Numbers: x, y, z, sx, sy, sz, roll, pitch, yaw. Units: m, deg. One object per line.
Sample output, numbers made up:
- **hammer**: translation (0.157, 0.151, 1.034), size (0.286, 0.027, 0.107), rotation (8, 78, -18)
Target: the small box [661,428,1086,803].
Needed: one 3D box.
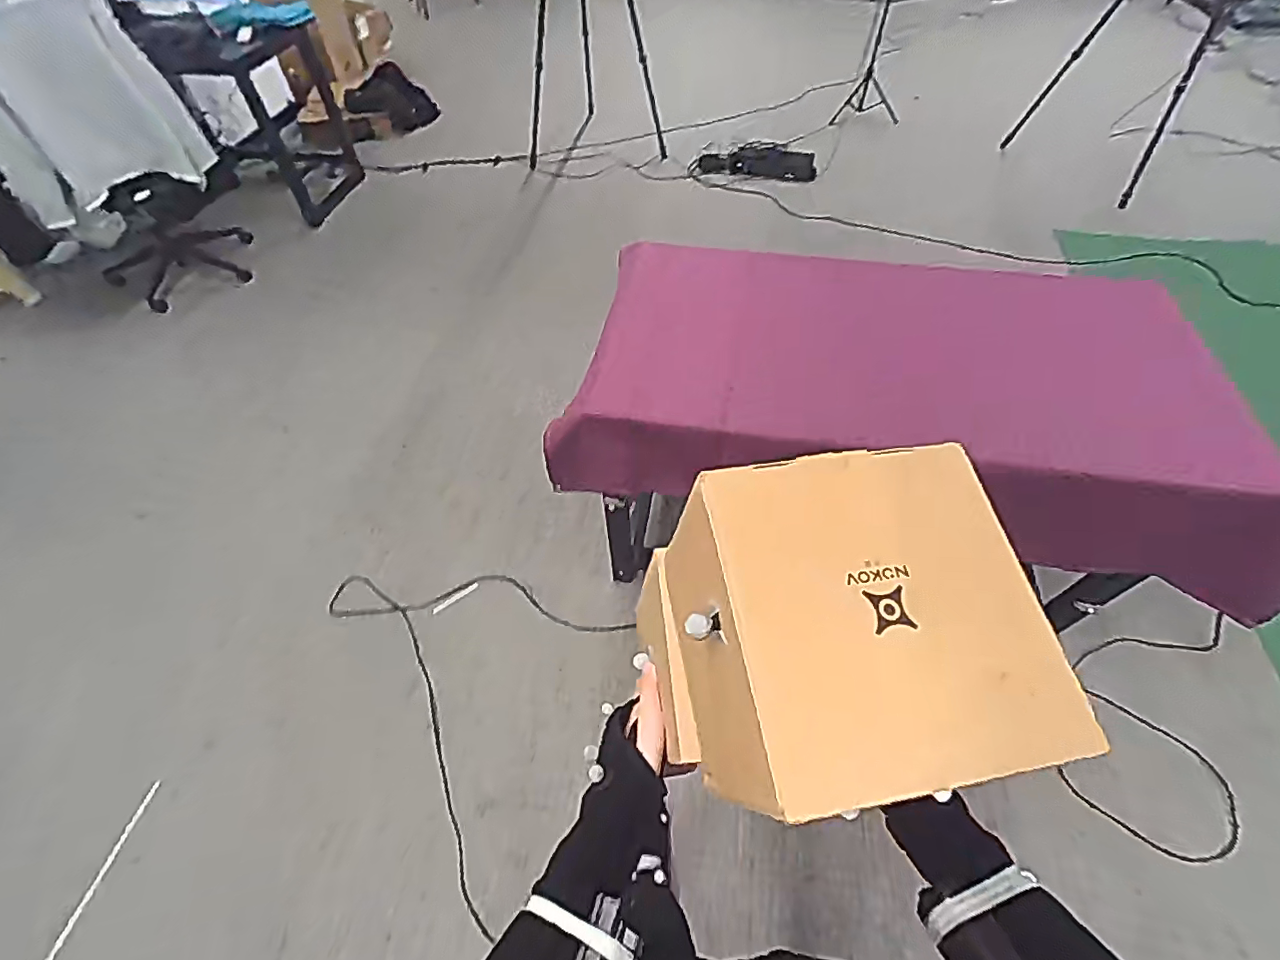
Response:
- **small box**: translation (0.113, 0.090, 0.352), size (0.168, 0.176, 0.179), rotation (-7, 63, -8)

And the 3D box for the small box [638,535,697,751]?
- **small box**: translation (0.096, 0.150, 0.502), size (0.179, 0.176, 0.168), rotation (-4, 64, -5)
